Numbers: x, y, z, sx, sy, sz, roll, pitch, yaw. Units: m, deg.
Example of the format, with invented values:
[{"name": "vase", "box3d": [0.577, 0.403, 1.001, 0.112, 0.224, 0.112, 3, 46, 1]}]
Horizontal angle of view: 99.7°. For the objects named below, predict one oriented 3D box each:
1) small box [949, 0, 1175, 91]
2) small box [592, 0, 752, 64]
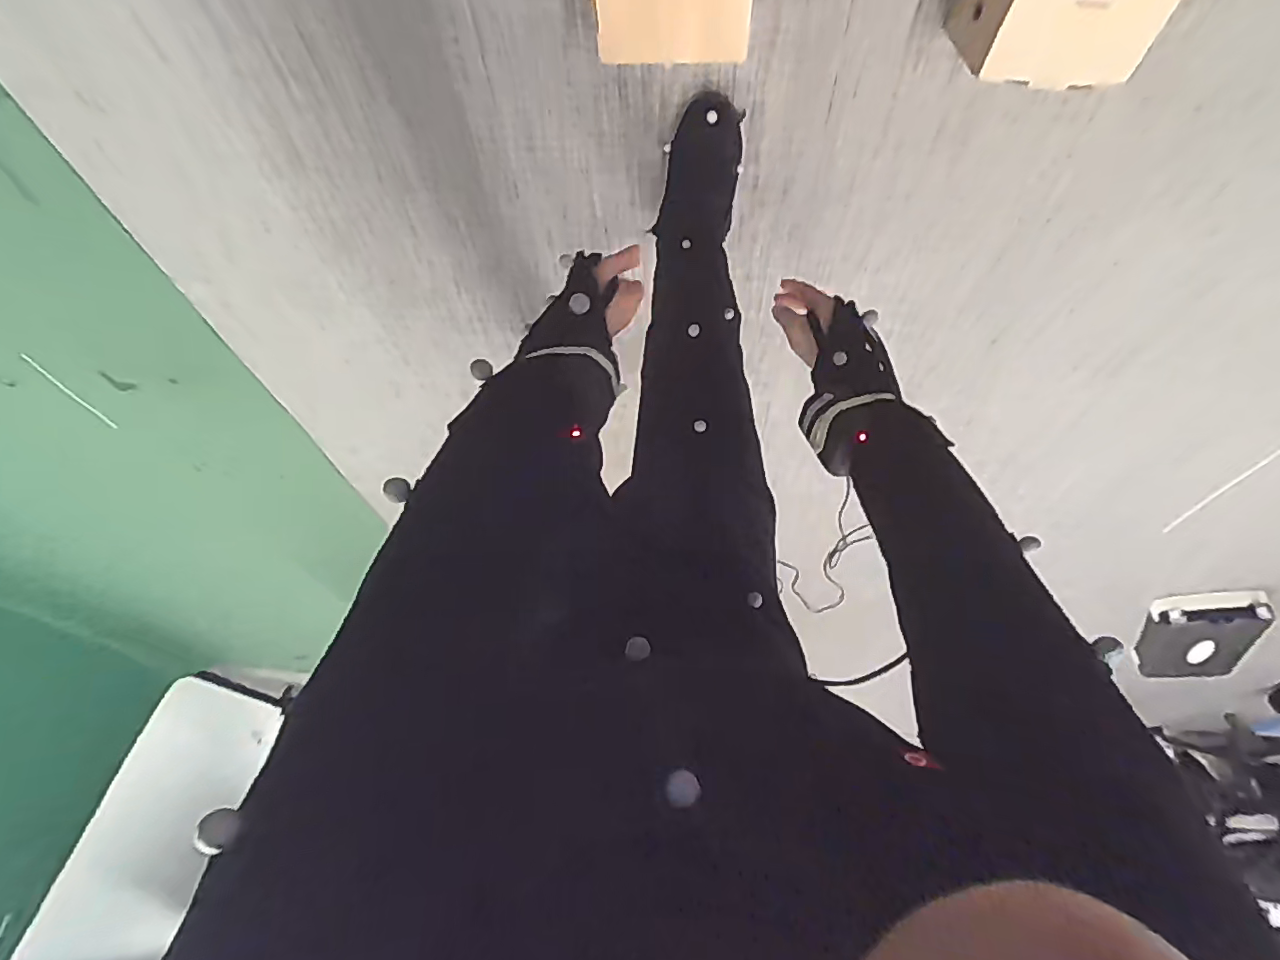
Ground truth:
[{"name": "small box", "box3d": [0.468, -0.564, 0.591, 0.168, 0.176, 0.179, 4, 144, 1]}, {"name": "small box", "box3d": [0.039, -0.601, 0.611, 0.179, 0.176, 0.168, 3, 145, 5]}]
